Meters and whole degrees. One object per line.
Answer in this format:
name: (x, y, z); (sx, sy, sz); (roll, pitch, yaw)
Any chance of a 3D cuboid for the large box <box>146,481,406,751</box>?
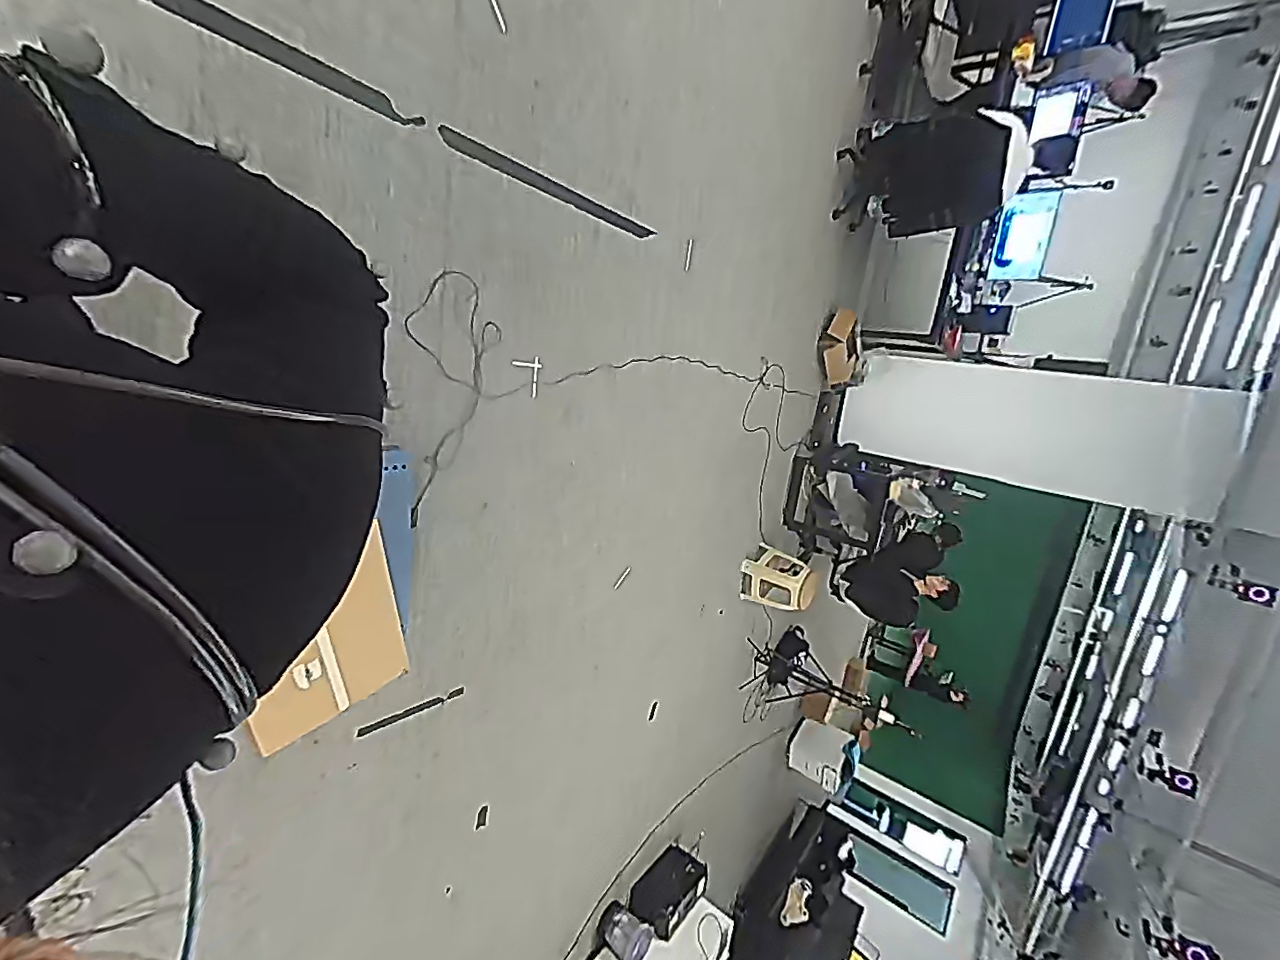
large box: (-0.760, 0.264, 1.159); (0.320, 0.320, 0.408); (-26, 125, -46)
